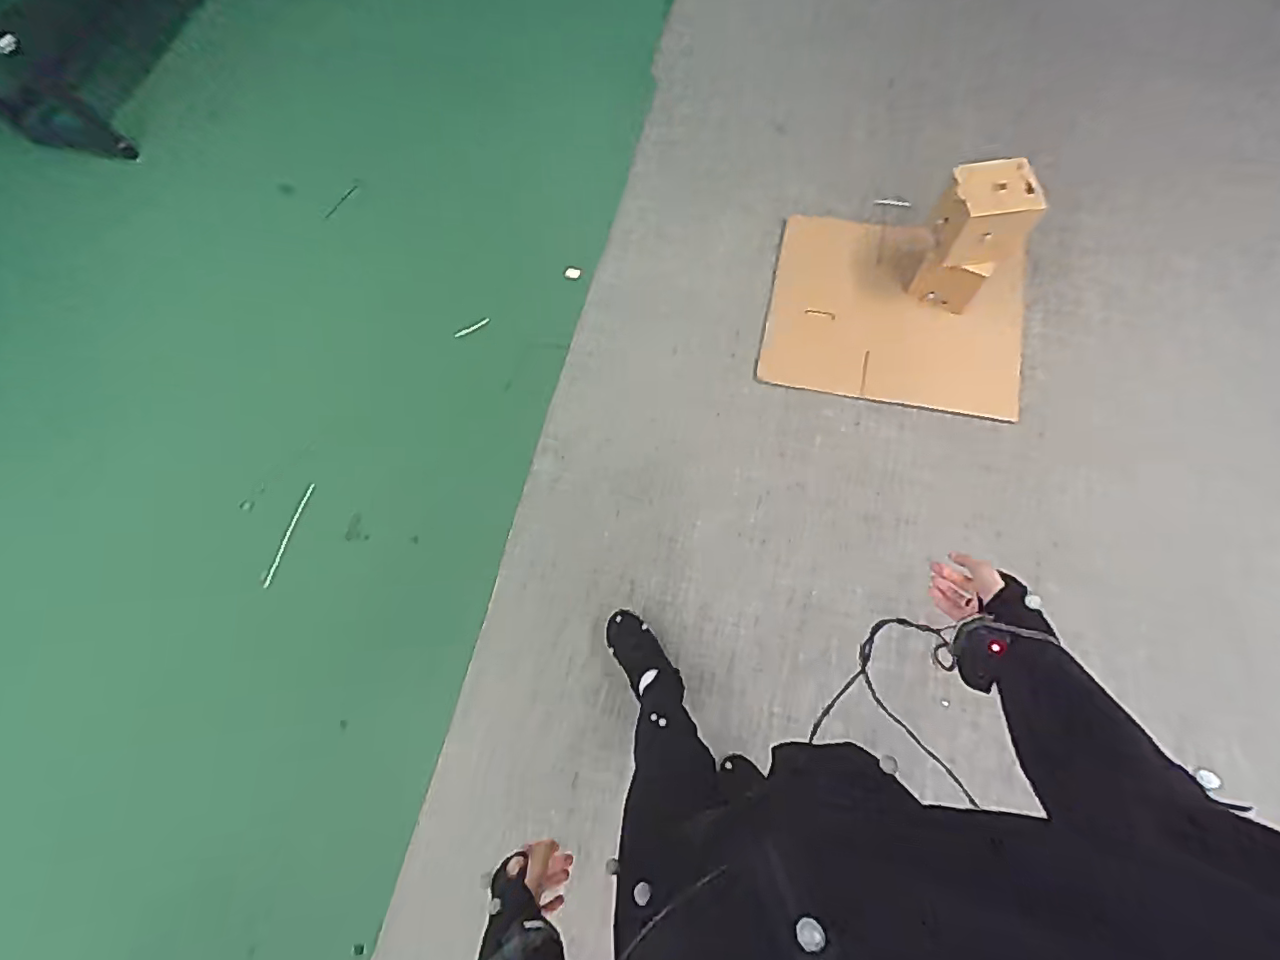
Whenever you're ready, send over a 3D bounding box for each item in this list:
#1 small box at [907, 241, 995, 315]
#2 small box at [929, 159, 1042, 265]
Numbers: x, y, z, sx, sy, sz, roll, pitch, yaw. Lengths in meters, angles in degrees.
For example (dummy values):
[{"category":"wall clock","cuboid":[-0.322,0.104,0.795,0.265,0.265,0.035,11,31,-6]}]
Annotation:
[{"category":"small box","cuboid":[0.882,-0.603,1.513,0.168,0.176,0.179,30,77,16]},{"category":"small box","cuboid":[0.857,-0.667,1.365,0.179,0.176,0.168,-5,69,5]}]
